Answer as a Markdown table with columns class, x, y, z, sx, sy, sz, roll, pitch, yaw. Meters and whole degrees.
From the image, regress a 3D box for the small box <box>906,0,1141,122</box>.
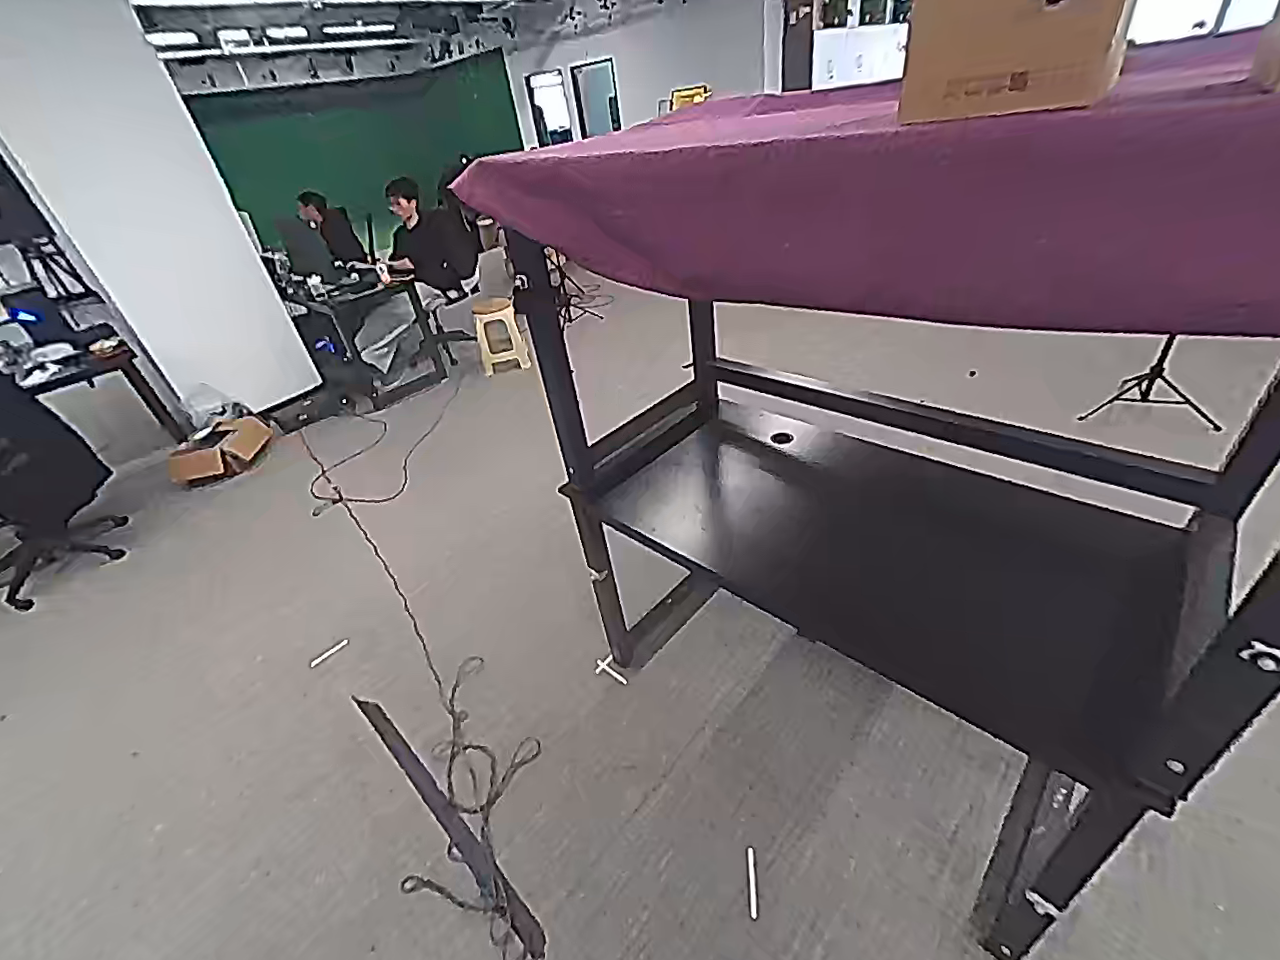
| class | x | y | z | sx | sy | sz | roll | pitch | yaw |
| --- | --- | --- | --- | --- | --- | --- | --- | --- | --- |
| small box | 0.372 | -0.454 | 0.519 | 0.168 | 0.176 | 0.179 | 20 | 44 | 35 |

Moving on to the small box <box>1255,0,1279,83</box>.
| class | x | y | z | sx | sy | sz | roll | pitch | yaw |
| --- | --- | --- | --- | --- | --- | --- | --- | --- | --- |
| small box | 0.553 | -0.368 | 0.346 | 0.168 | 0.176 | 0.179 | 16 | 41 | 34 |
